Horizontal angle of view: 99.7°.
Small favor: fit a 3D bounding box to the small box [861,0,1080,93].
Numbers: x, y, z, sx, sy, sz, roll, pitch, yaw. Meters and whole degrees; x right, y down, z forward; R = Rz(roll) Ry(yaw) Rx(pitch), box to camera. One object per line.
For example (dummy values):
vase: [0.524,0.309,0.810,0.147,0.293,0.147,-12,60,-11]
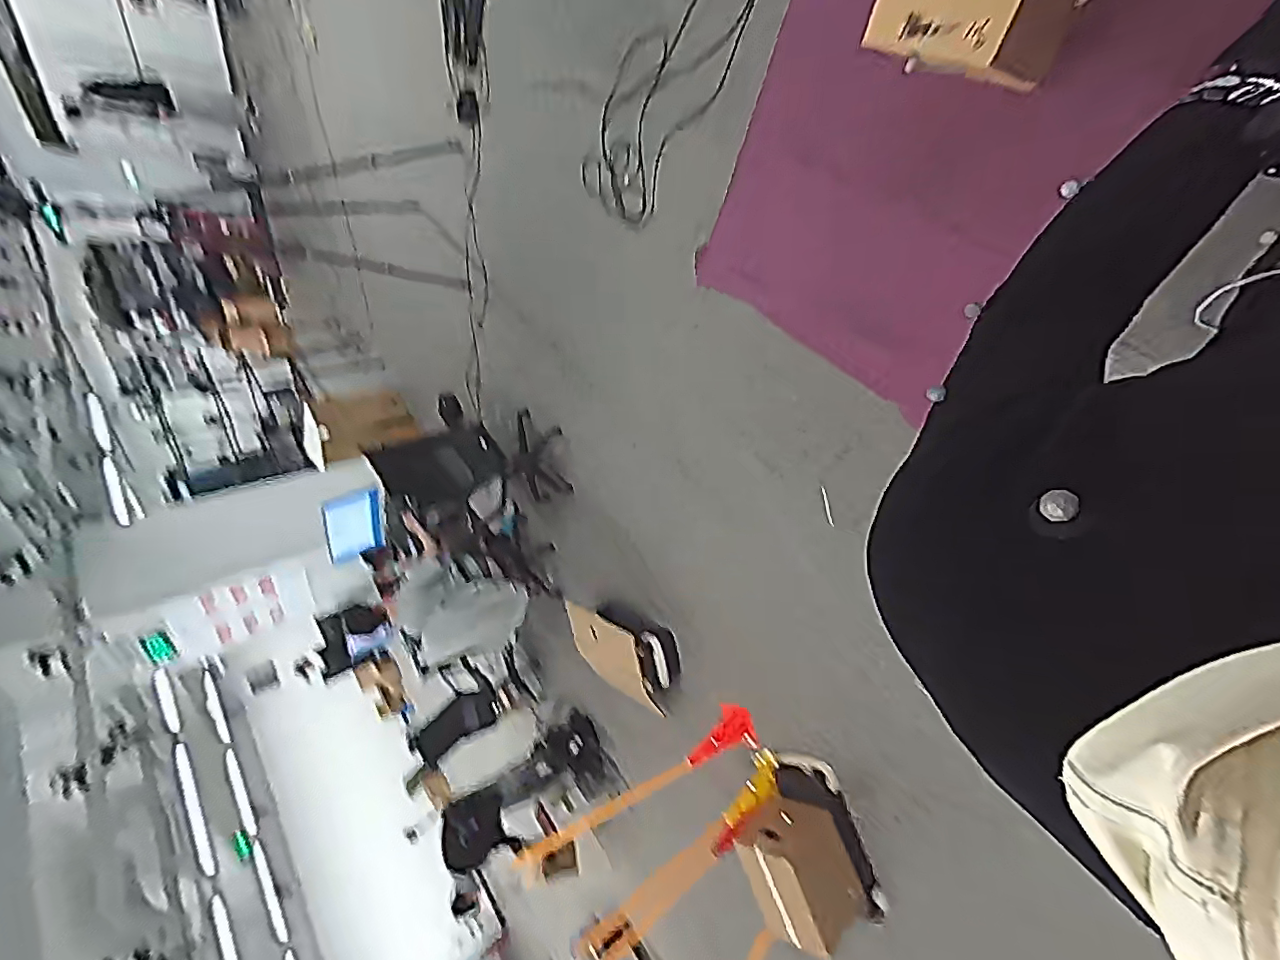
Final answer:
small box: [0.401,-0.580,0.627,0.168,0.176,0.179,43,136,31]
